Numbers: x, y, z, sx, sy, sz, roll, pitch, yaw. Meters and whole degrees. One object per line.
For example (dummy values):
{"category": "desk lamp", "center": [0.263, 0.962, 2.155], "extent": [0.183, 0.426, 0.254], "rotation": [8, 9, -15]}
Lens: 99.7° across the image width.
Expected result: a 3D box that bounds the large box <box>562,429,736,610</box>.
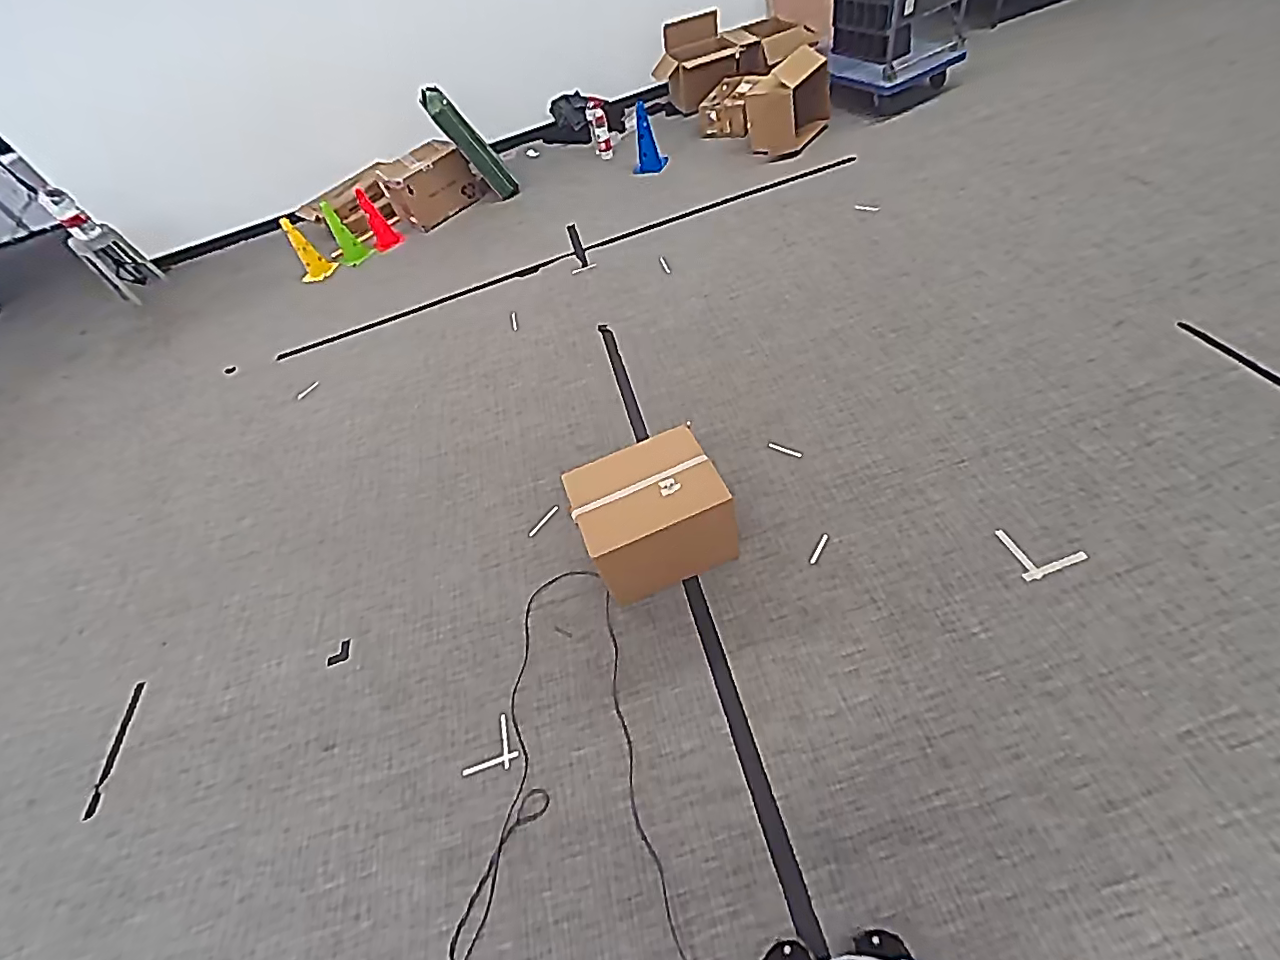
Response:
{"category": "large box", "center": [0.032, 0.120, 1.604], "extent": [0.408, 0.320, 0.320], "rotation": [-23, 51, -4]}
